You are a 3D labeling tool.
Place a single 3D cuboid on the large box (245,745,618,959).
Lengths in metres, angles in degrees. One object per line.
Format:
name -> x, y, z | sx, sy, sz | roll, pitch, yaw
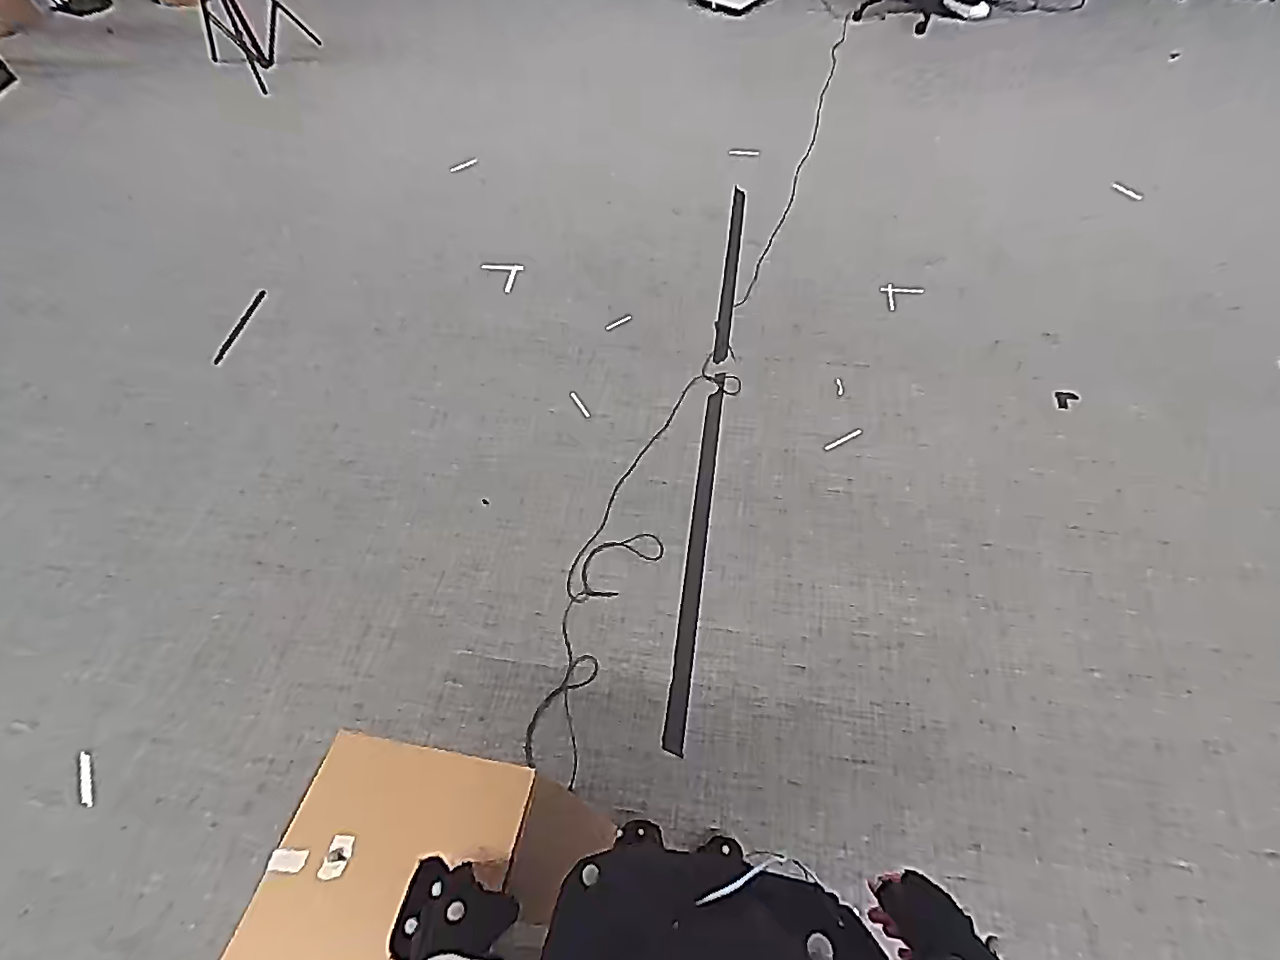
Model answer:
large box -> -0.254, 0.609, 0.770 | 0.320, 0.408, 0.320 | 3, 51, 18
